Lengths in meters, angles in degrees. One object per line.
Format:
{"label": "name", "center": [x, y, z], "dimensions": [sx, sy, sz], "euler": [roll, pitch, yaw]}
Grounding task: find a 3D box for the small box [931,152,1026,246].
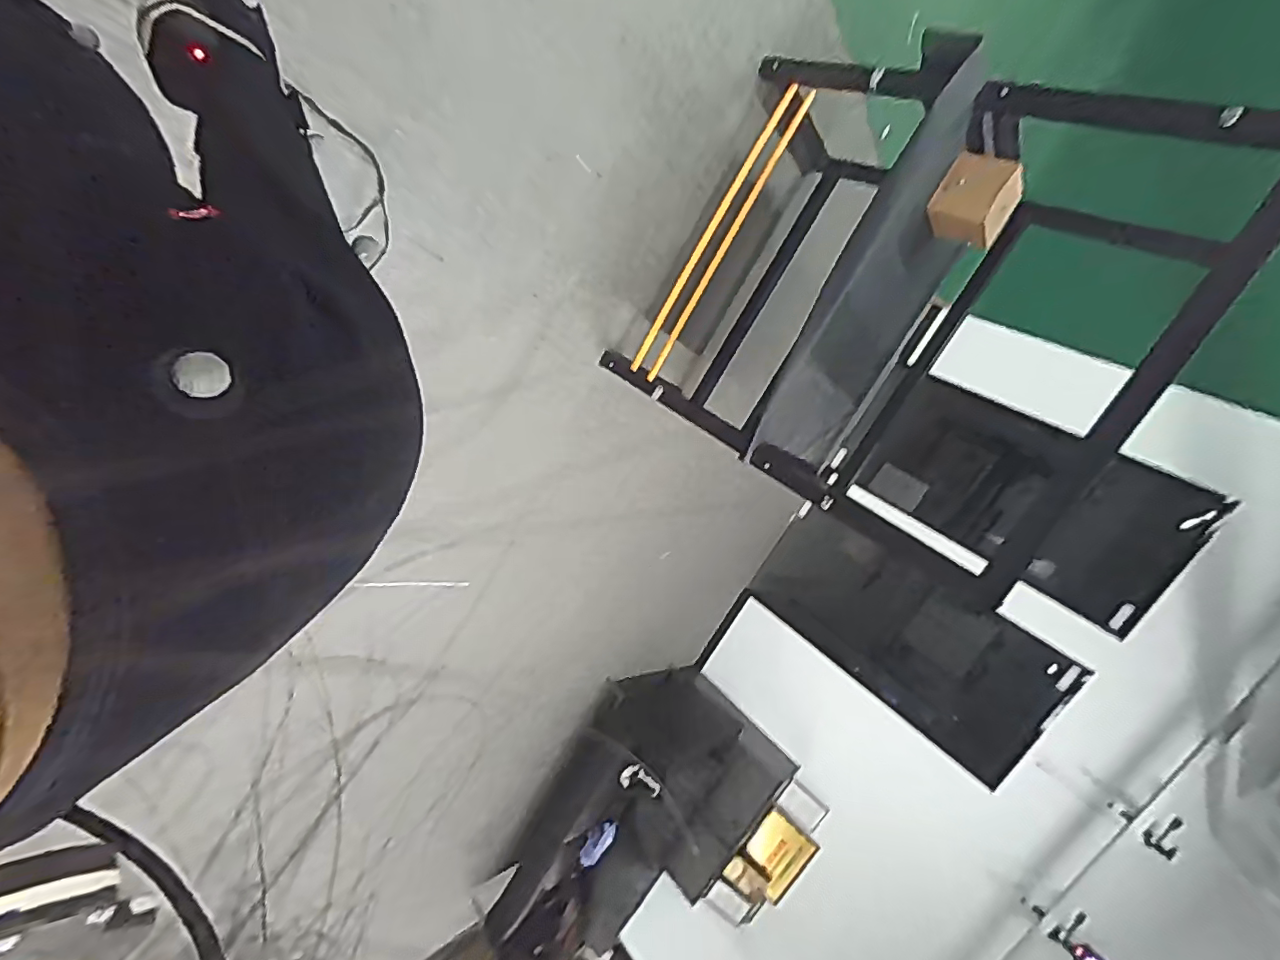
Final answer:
{"label": "small box", "center": [0.976, -0.814, 1.562], "dimensions": [0.179, 0.176, 0.168], "euler": [11, 112, -53]}
